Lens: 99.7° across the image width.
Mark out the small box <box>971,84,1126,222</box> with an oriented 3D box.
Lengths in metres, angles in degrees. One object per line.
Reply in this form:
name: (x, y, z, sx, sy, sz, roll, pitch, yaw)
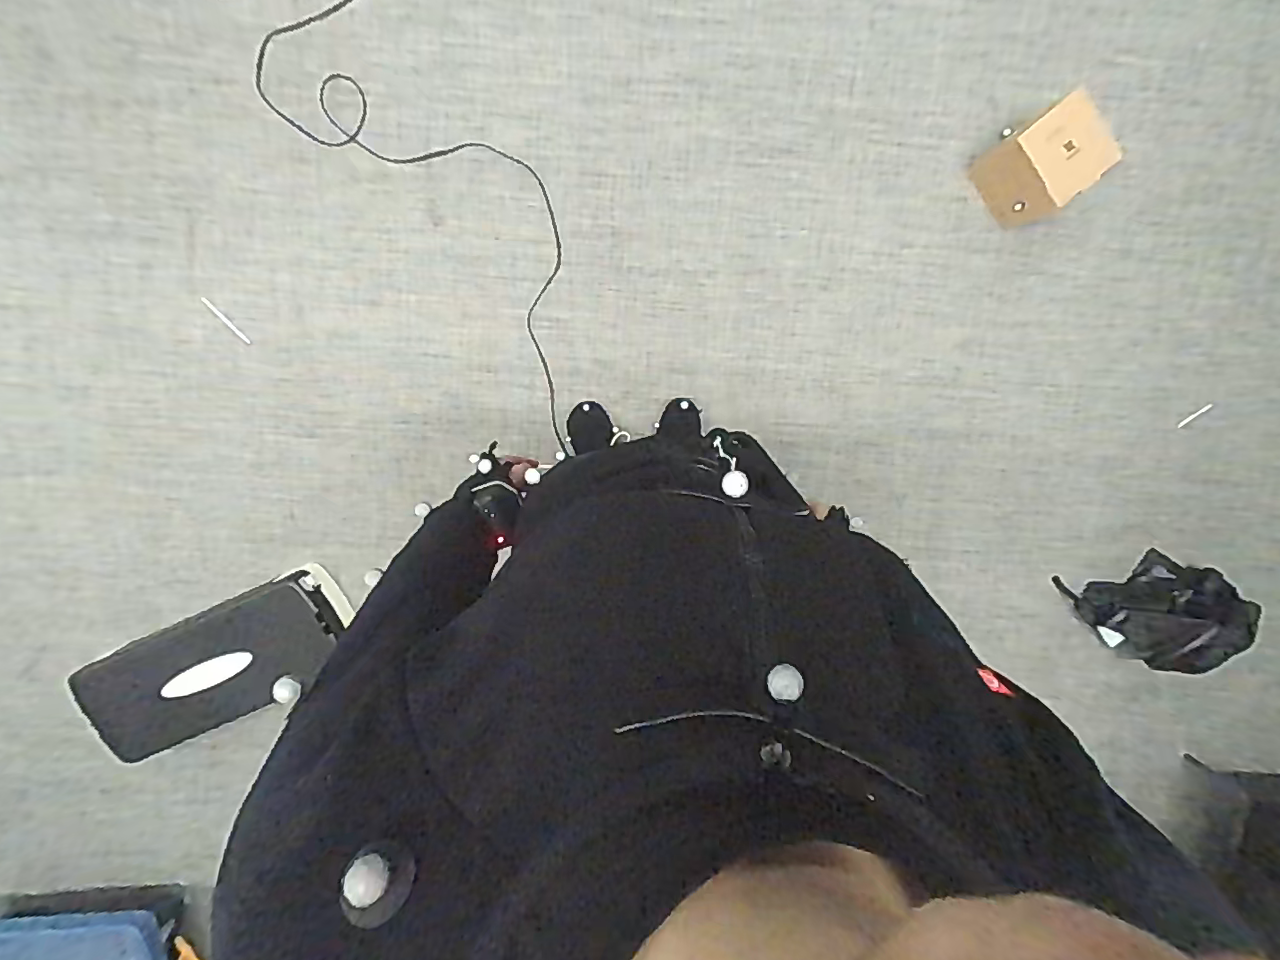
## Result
small box: (0.878, -0.693, 1.178, 0.168, 0.176, 0.179, -40, 98, 4)
